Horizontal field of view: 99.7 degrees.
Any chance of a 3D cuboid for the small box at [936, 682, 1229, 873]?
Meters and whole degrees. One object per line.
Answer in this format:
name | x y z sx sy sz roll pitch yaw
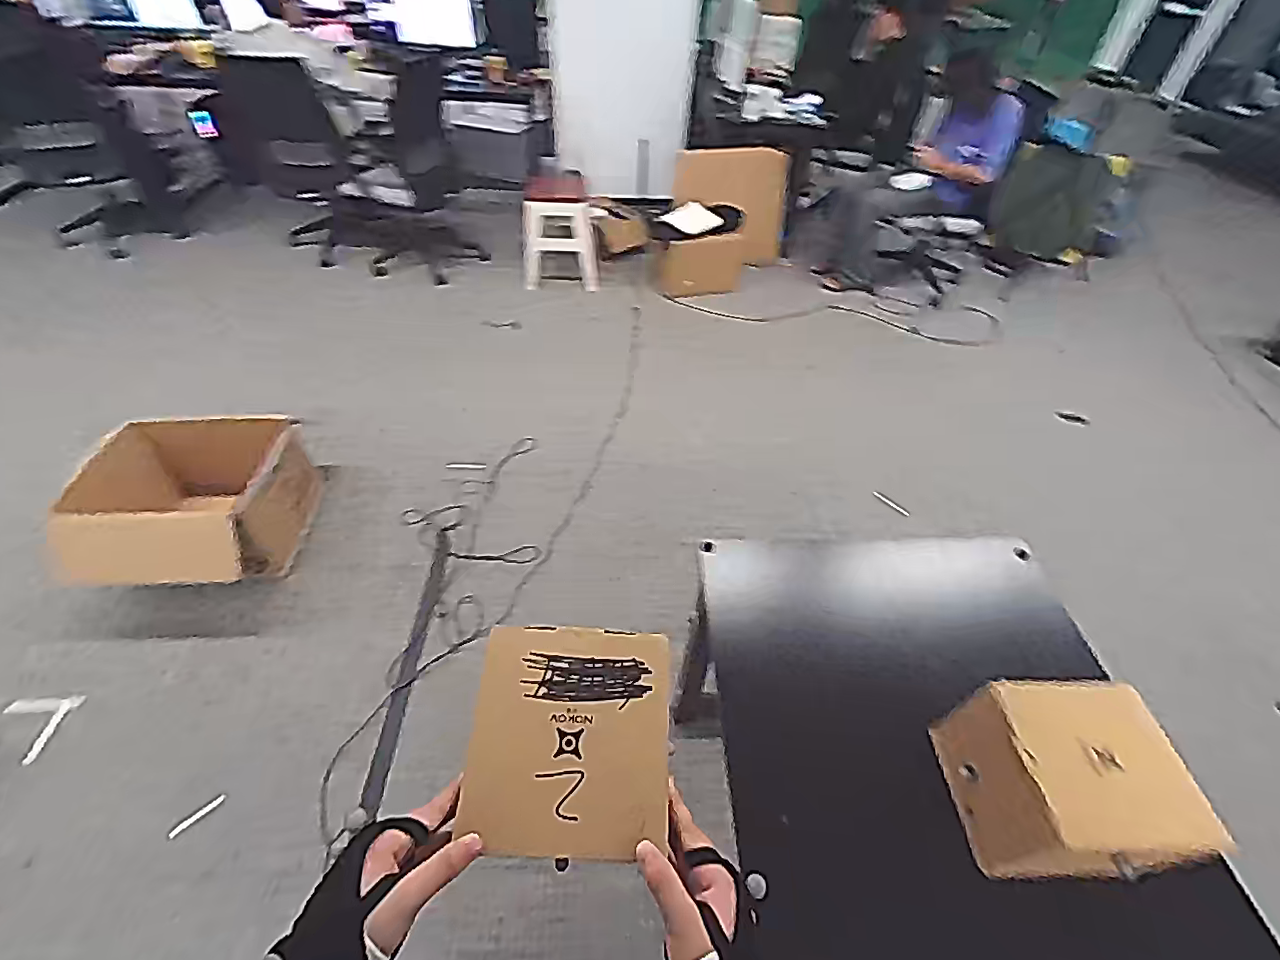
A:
small box | 0.498 0.355 0.646 0.179 0.176 0.168 1 47 -2
